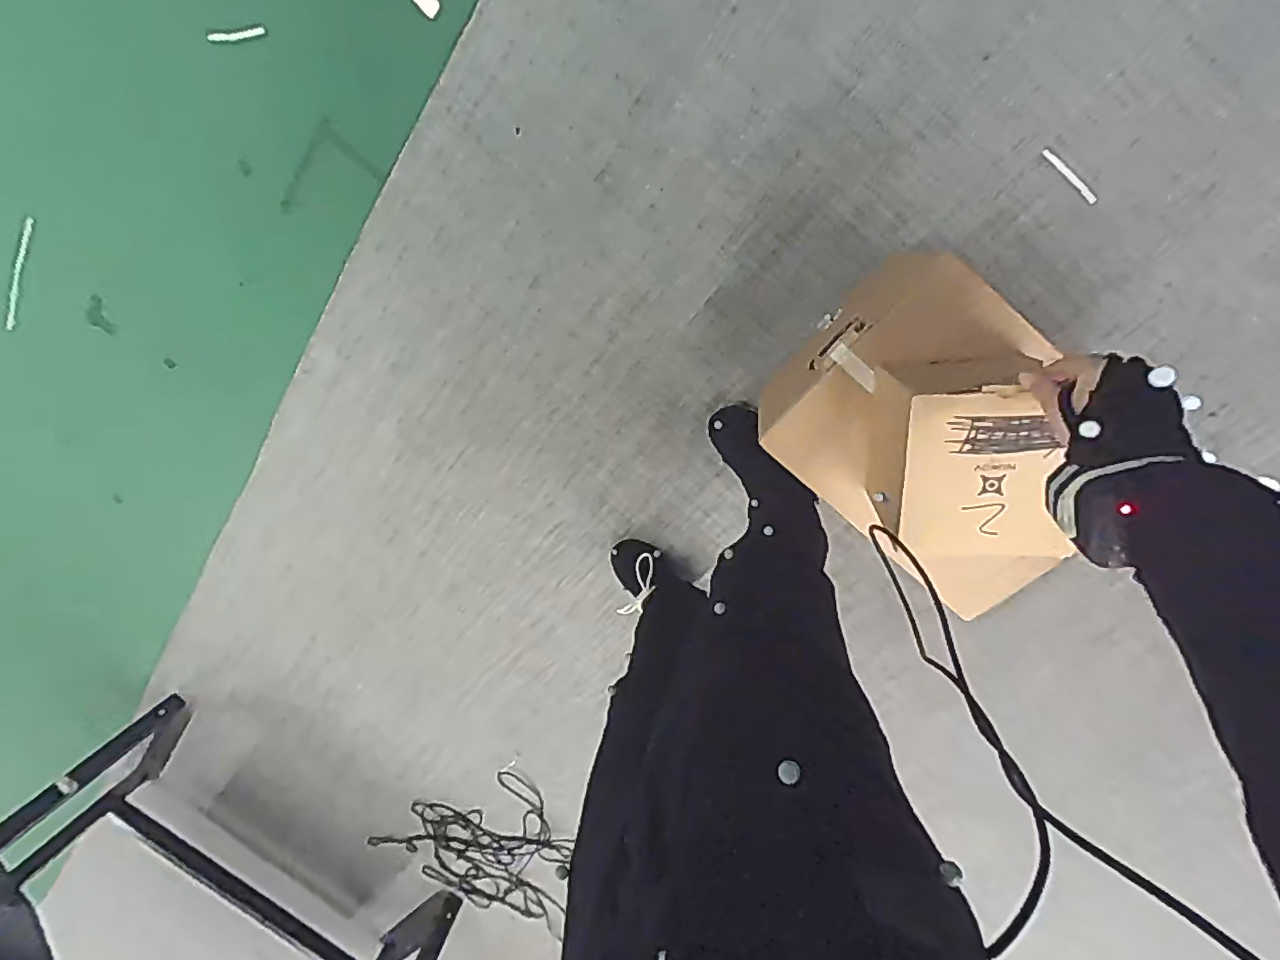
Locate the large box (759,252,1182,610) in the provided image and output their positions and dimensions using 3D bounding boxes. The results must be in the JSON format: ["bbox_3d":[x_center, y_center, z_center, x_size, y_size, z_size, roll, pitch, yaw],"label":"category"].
[{"bbox_3d":[0.435,-0.093,0.826,0.408,0.320,0.320,39,115,-6],"label":"large box"}]
